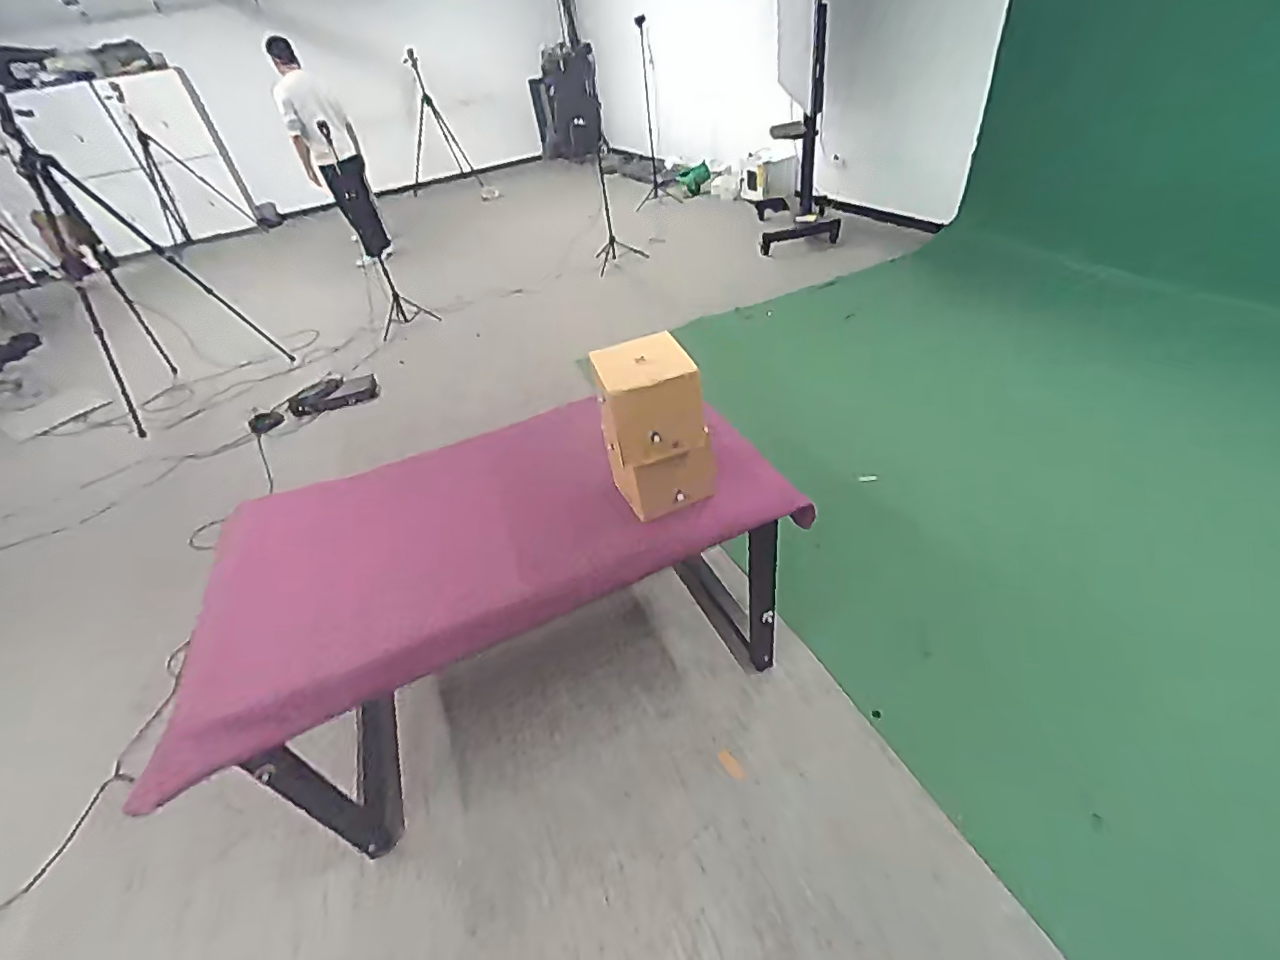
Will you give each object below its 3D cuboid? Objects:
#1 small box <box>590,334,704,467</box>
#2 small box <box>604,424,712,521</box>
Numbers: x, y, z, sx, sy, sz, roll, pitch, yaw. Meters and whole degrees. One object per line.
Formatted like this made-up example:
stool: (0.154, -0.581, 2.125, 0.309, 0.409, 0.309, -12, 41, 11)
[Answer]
small box: (0.014, -0.153, 1.033, 0.168, 0.176, 0.179, -17, 40, -7)
small box: (0.043, -0.043, 1.153, 0.179, 0.176, 0.168, -22, 39, -13)
